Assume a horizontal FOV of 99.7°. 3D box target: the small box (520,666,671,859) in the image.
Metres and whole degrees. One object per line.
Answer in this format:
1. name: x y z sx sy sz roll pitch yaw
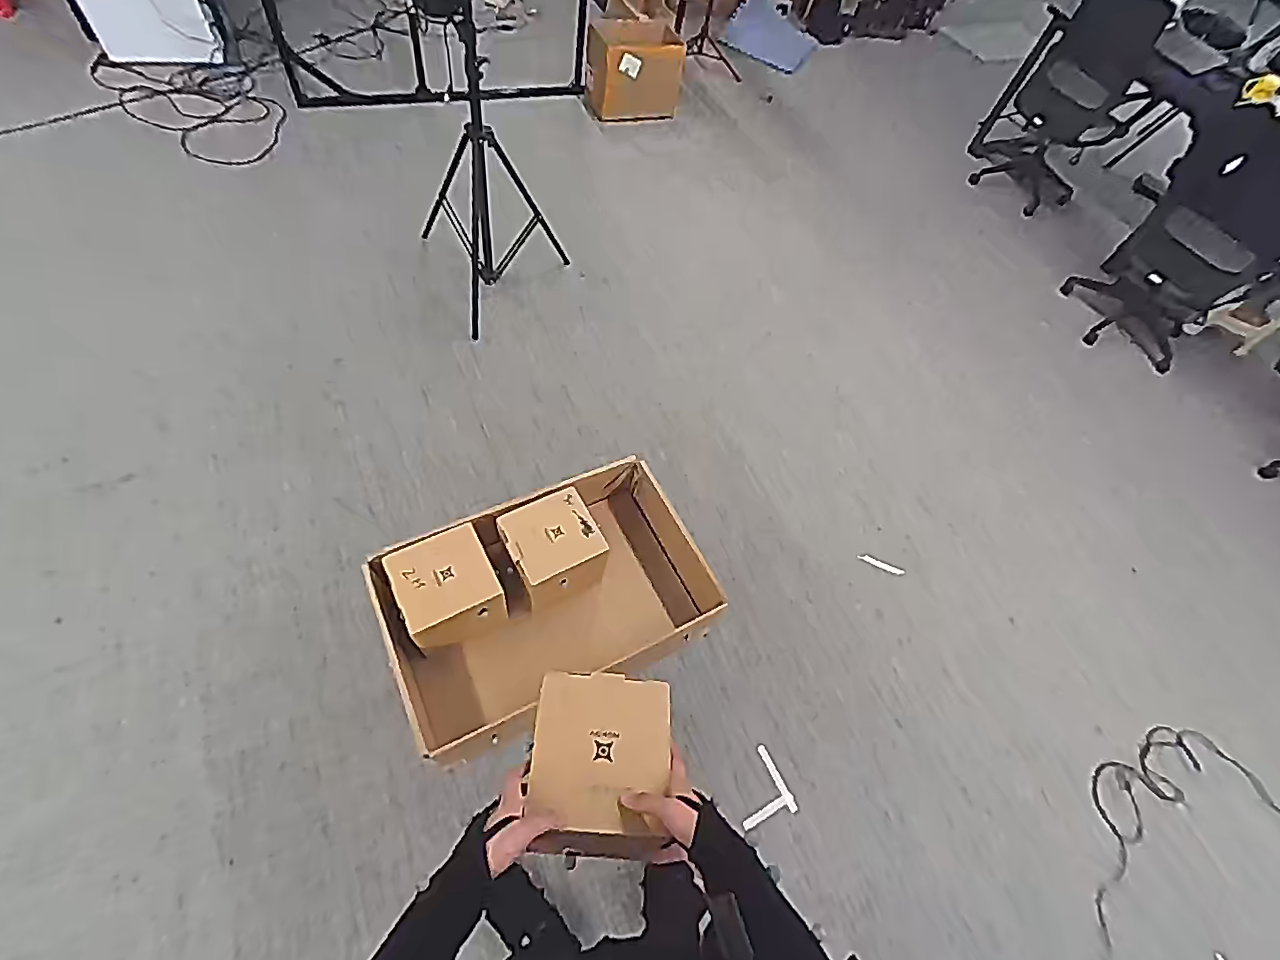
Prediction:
1. small box: -0.059 0.365 0.696 0.168 0.176 0.179 9 47 -7
